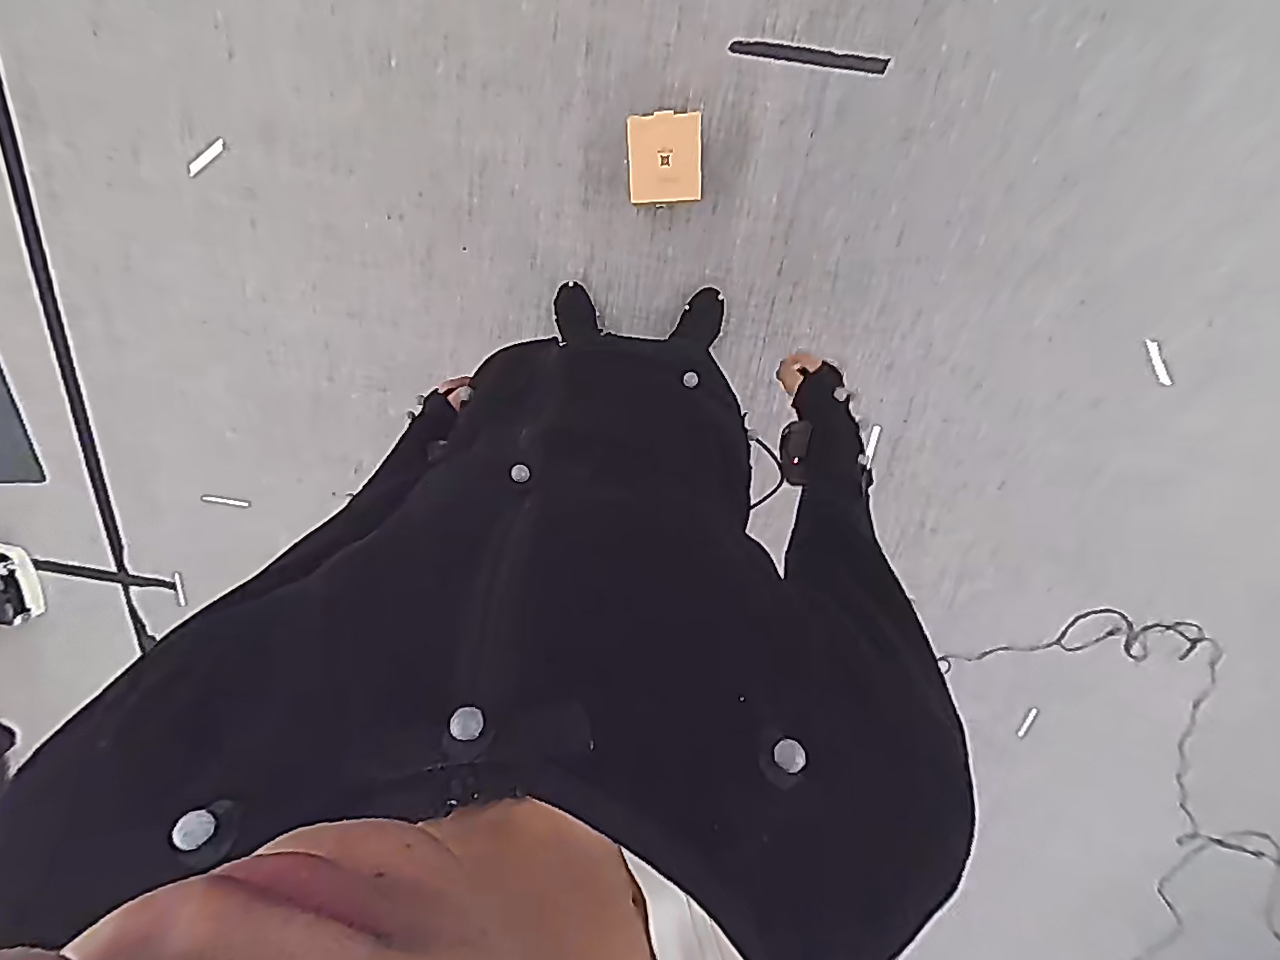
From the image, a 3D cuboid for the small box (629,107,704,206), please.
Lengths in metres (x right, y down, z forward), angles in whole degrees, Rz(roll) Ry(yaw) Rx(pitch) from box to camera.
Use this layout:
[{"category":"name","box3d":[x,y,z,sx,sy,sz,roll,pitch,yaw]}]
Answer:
[{"category":"small box","box3d":[0.062,-0.756,1.279,0.168,0.176,0.179,-1,113,4]}]
